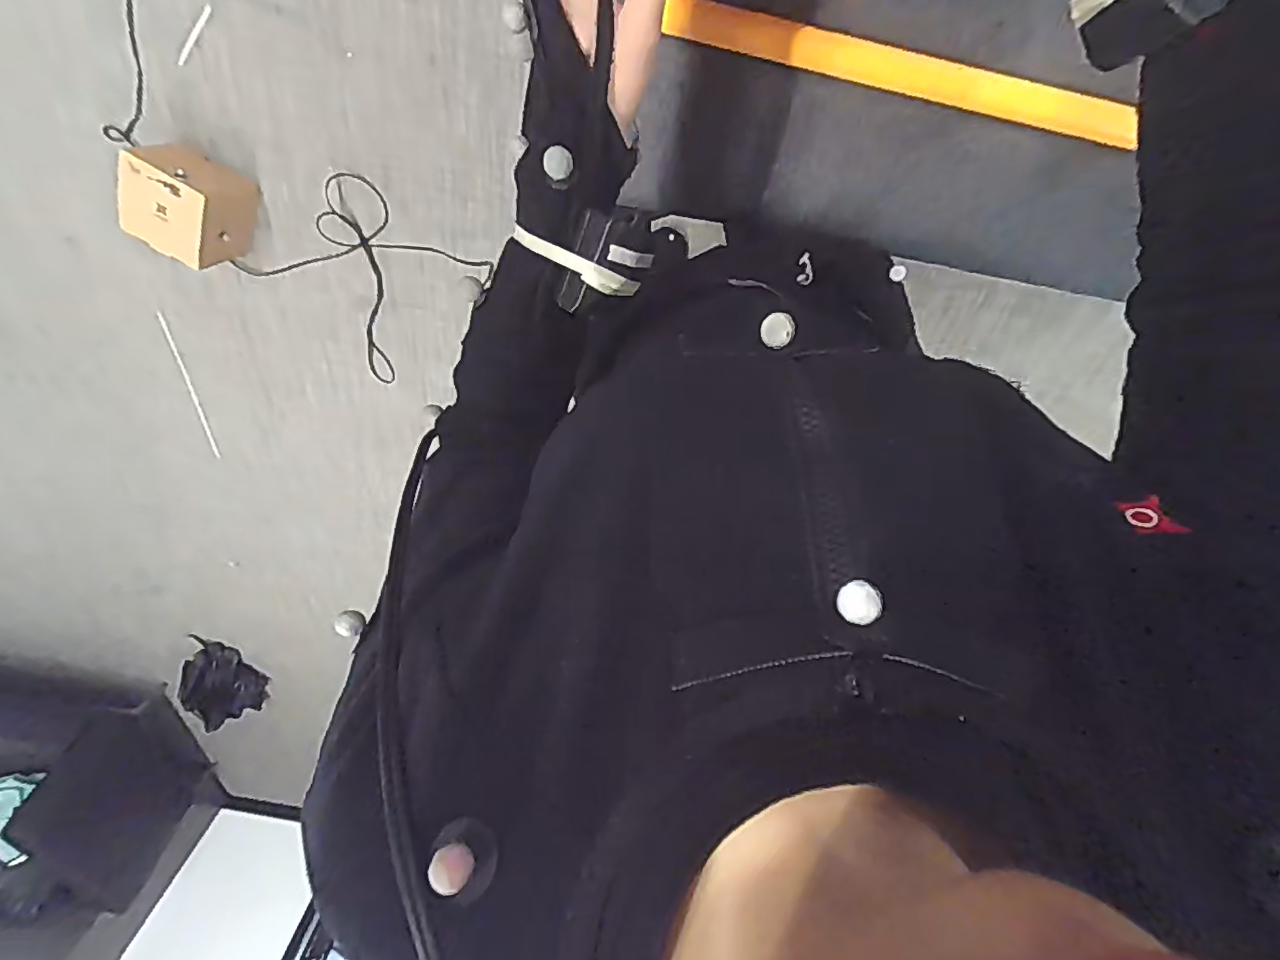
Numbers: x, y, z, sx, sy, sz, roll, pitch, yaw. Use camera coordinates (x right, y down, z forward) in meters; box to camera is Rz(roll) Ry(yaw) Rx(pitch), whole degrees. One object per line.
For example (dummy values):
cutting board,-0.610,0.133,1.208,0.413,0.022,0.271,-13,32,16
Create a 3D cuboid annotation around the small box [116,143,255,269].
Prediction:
small box,-0.981,-0.599,1.179,0.168,0.176,0.179,29,124,-13
